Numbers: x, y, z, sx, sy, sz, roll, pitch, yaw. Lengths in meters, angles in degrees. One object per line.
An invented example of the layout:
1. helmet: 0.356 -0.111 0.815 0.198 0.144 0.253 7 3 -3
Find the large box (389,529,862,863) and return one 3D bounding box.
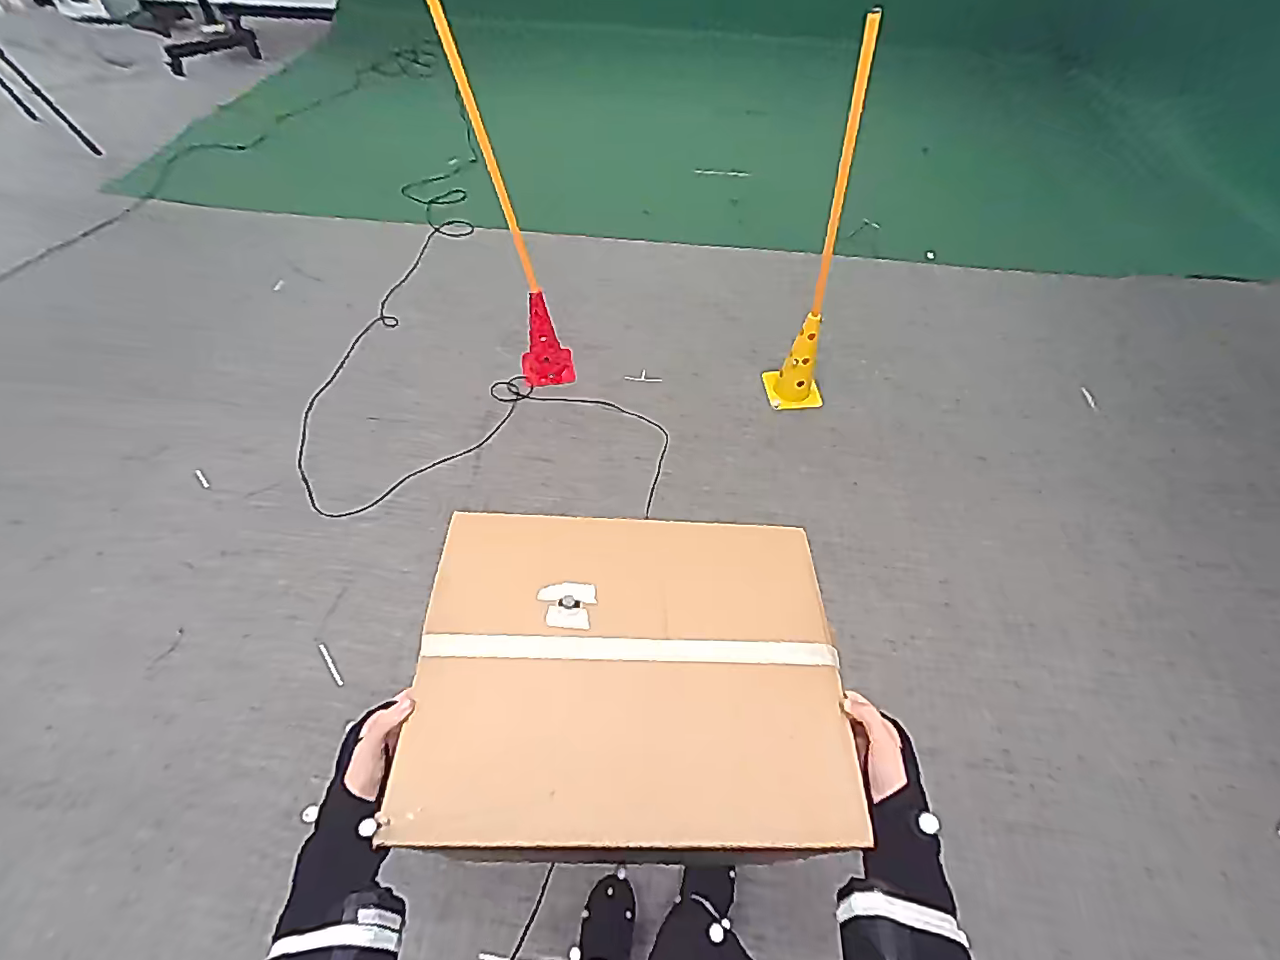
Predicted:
1. large box: -0.016 0.272 0.655 0.408 0.320 0.320 2 52 -3
